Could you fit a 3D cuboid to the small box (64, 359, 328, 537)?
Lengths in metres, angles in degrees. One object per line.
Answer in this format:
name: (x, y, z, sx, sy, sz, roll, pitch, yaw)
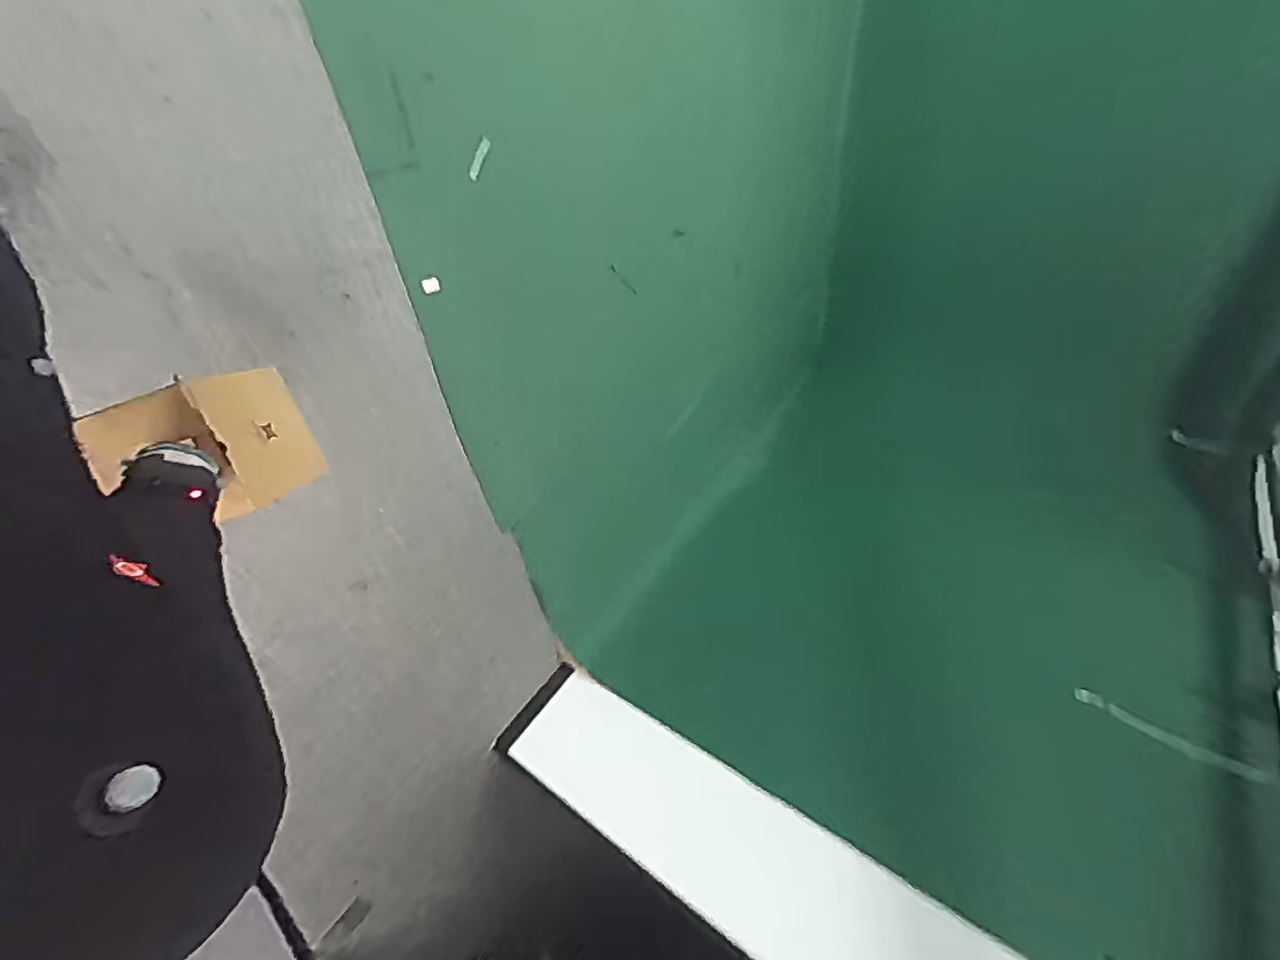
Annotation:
small box: (-0.566, -0.048, 0.713, 0.179, 0.176, 0.168, -97, 168, -71)
